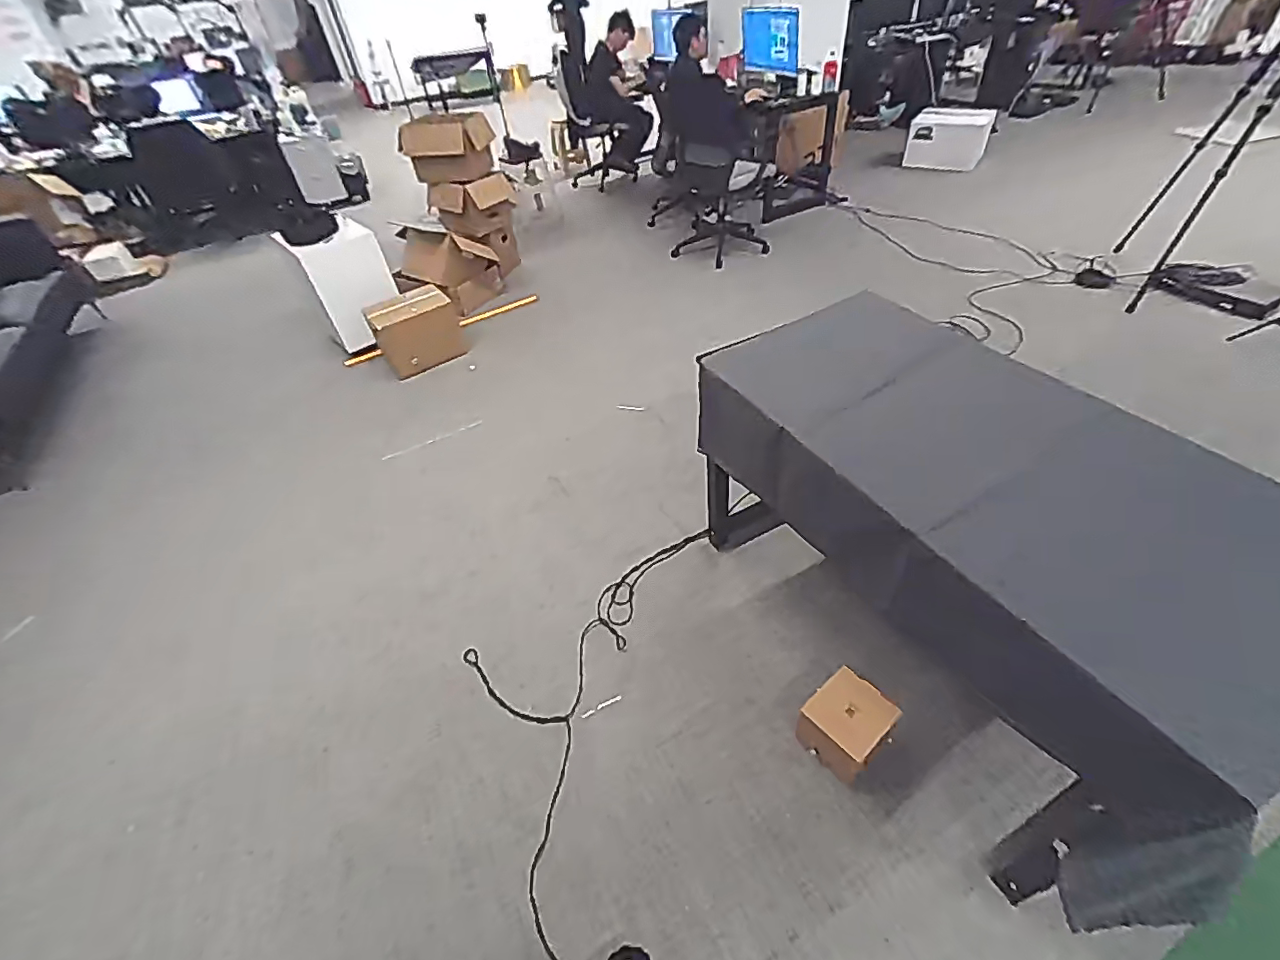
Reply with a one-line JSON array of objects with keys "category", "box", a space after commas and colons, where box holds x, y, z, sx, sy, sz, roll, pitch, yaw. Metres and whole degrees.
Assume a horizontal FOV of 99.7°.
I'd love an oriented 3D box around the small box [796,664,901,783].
[{"category": "small box", "box": [0.505, 0.601, 1.334, 0.179, 0.176, 0.168, -32, 49, -24]}]
